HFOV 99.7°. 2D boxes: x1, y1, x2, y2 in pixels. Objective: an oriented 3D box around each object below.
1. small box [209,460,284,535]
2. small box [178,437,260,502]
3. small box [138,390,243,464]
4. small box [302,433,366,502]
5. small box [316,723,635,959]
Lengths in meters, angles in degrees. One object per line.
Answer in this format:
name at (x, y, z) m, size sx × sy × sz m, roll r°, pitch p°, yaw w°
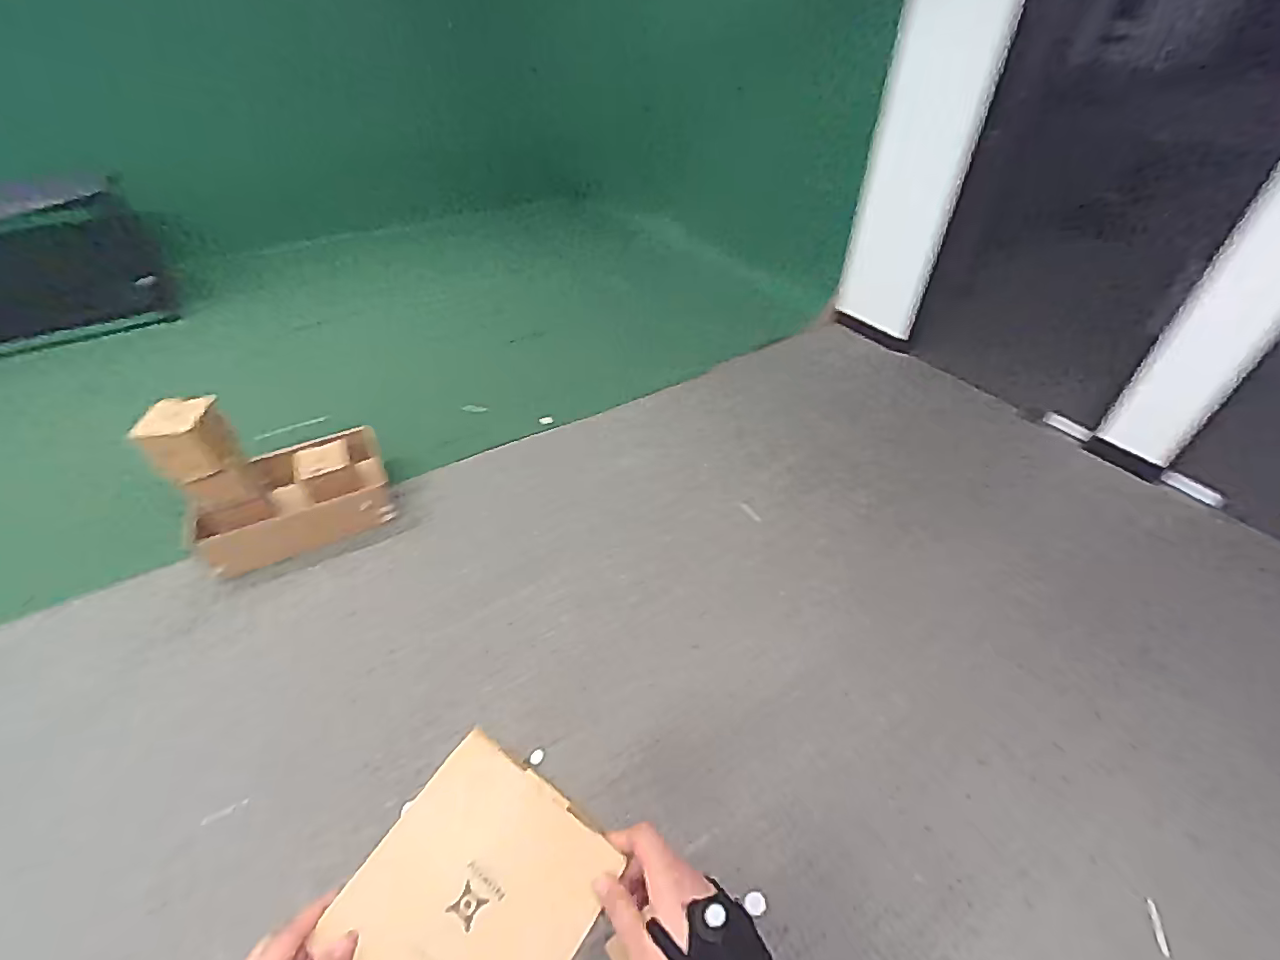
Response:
small box at (-1.408, 0.063, 1.939) m, size 0.168 × 0.176 × 0.179 m, roll -23°, pitch 48°, yaw -22°
small box at (-1.408, -0.048, 1.817) m, size 0.168 × 0.176 × 0.179 m, roll -21°, pitch 47°, yaw -22°
small box at (-1.401, -0.163, 1.702) m, size 0.168 × 0.176 × 0.179 m, roll -5°, pitch 43°, yaw -6°
small box at (-1.163, -0.046, 2.056) m, size 0.168 × 0.176 × 0.179 m, roll -18°, pitch 47°, yaw -17°
small box at (-0.120, 0.345, 0.467) m, size 0.168 × 0.176 × 0.179 m, roll 31°, pitch 63°, yaw 17°
